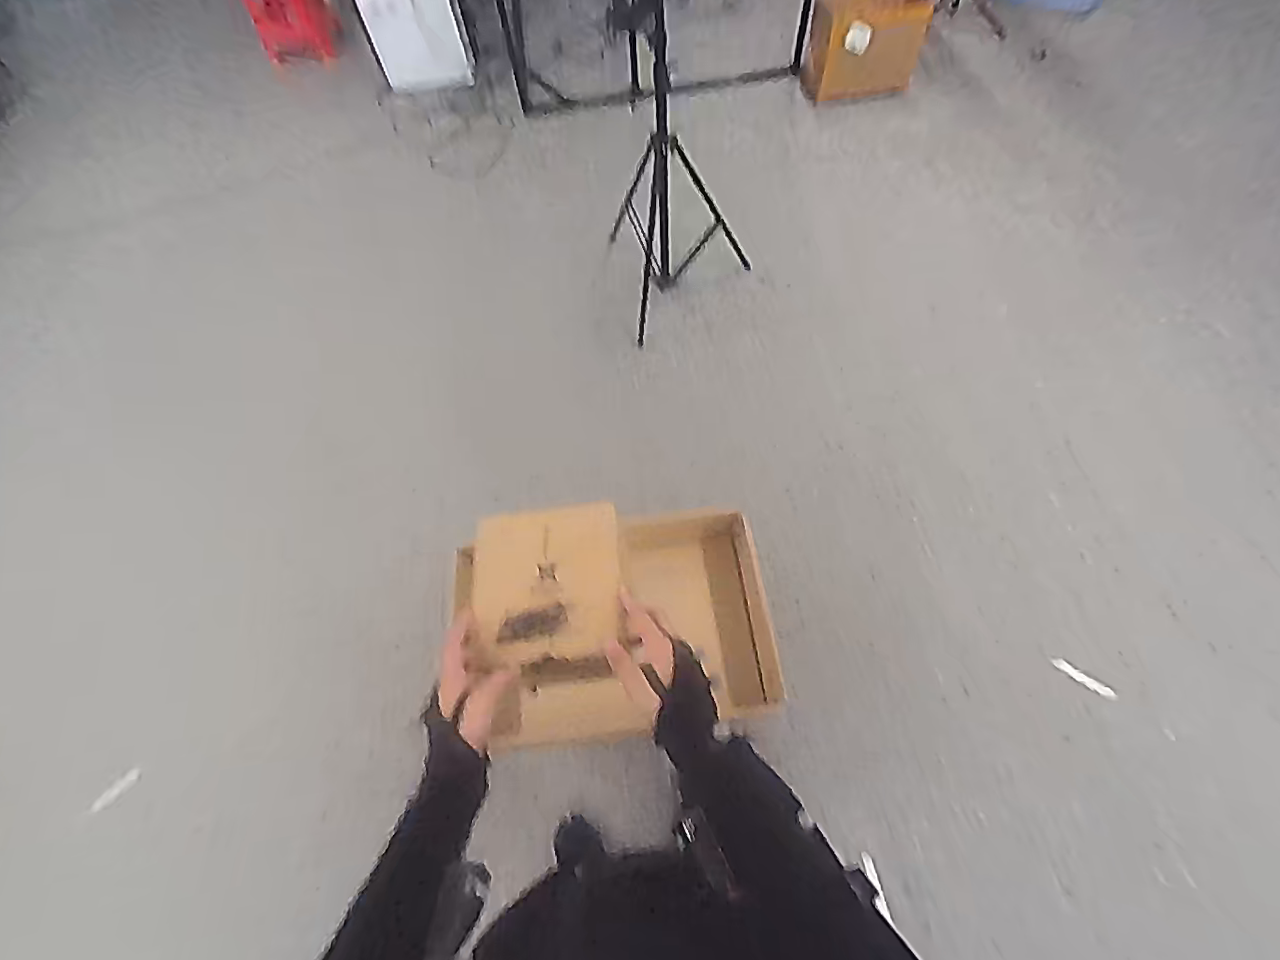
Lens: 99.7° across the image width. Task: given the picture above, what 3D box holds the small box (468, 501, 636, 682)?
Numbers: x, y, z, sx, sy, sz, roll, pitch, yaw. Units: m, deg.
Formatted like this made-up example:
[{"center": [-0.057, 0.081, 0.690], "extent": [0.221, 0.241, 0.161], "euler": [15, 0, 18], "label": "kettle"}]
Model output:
[{"center": [-0.098, 0.146, 0.665], "extent": [0.168, 0.176, 0.179], "euler": [-7, 62, 1], "label": "small box"}]
